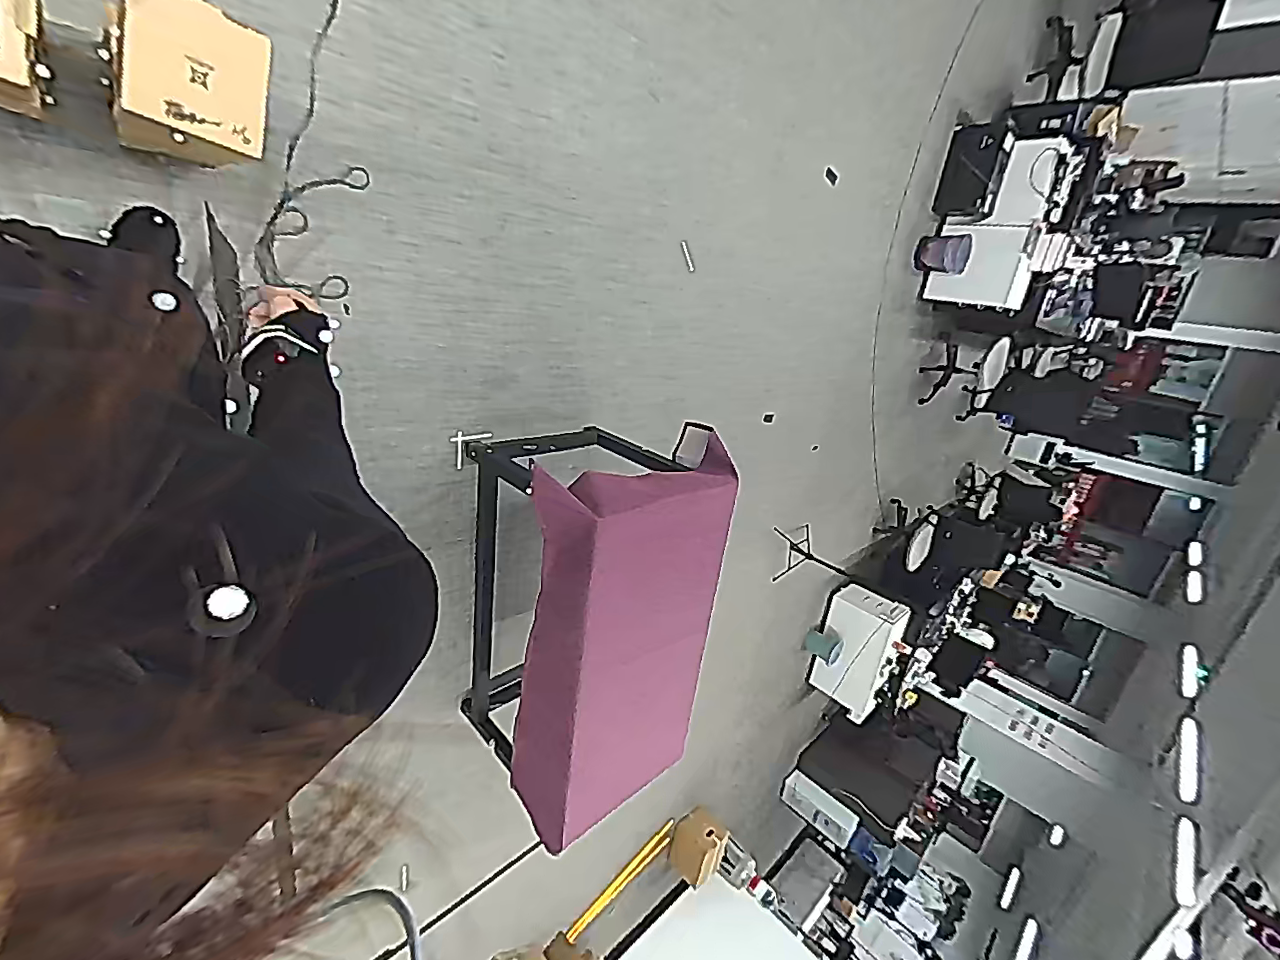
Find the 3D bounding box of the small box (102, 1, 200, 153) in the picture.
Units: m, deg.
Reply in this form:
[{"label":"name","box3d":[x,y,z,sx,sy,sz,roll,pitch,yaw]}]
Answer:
[{"label":"small box","box3d":[-0.814,-0.682,0.949,0.179,0.176,0.168,-8,115,-44]}]

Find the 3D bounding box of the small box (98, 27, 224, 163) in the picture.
[{"label":"small box","box3d":[-0.926,-0.737,1.051,0.168,0.176,0.179,-10,117,-43]}]

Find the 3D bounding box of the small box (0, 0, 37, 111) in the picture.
[{"label":"small box","box3d":[-0.989,-0.655,0.768,0.179,0.176,0.168,1,109,-47]}]

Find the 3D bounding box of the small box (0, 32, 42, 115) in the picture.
[{"label":"small box","box3d":[-1.094,-0.725,0.872,0.168,0.176,0.179,-4,113,-45]}]

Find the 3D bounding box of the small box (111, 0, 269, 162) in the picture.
[{"label":"small box","box3d":[-0.703,-0.625,0.842,0.168,0.176,0.179,1,108,-47]}]
